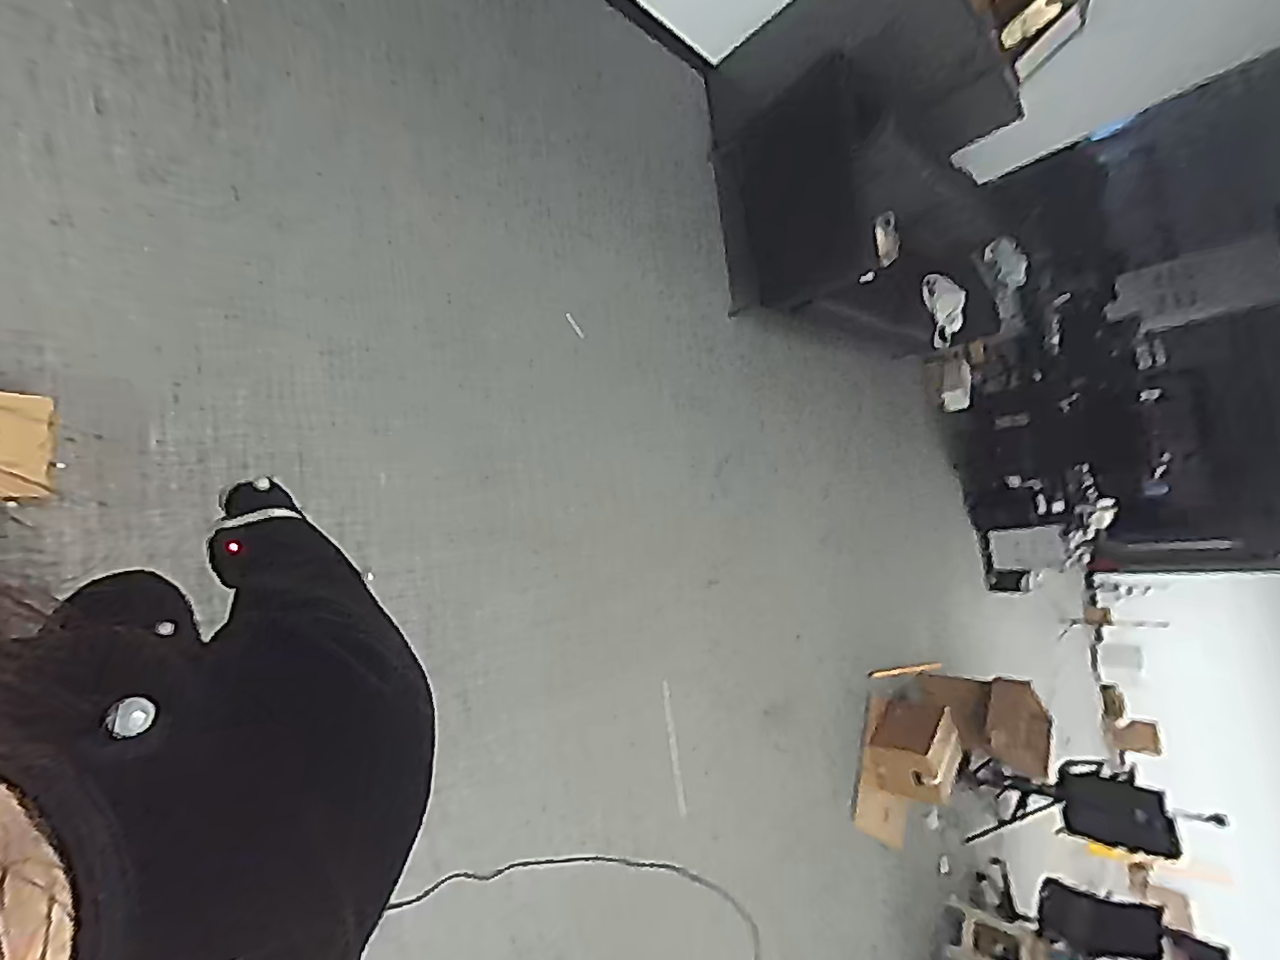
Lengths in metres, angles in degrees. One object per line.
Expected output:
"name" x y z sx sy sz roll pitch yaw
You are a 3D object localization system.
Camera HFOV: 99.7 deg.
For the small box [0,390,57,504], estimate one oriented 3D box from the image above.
"small box" -1.071 -0.050 0.866 0.179 0.176 0.168 2 81 -46
